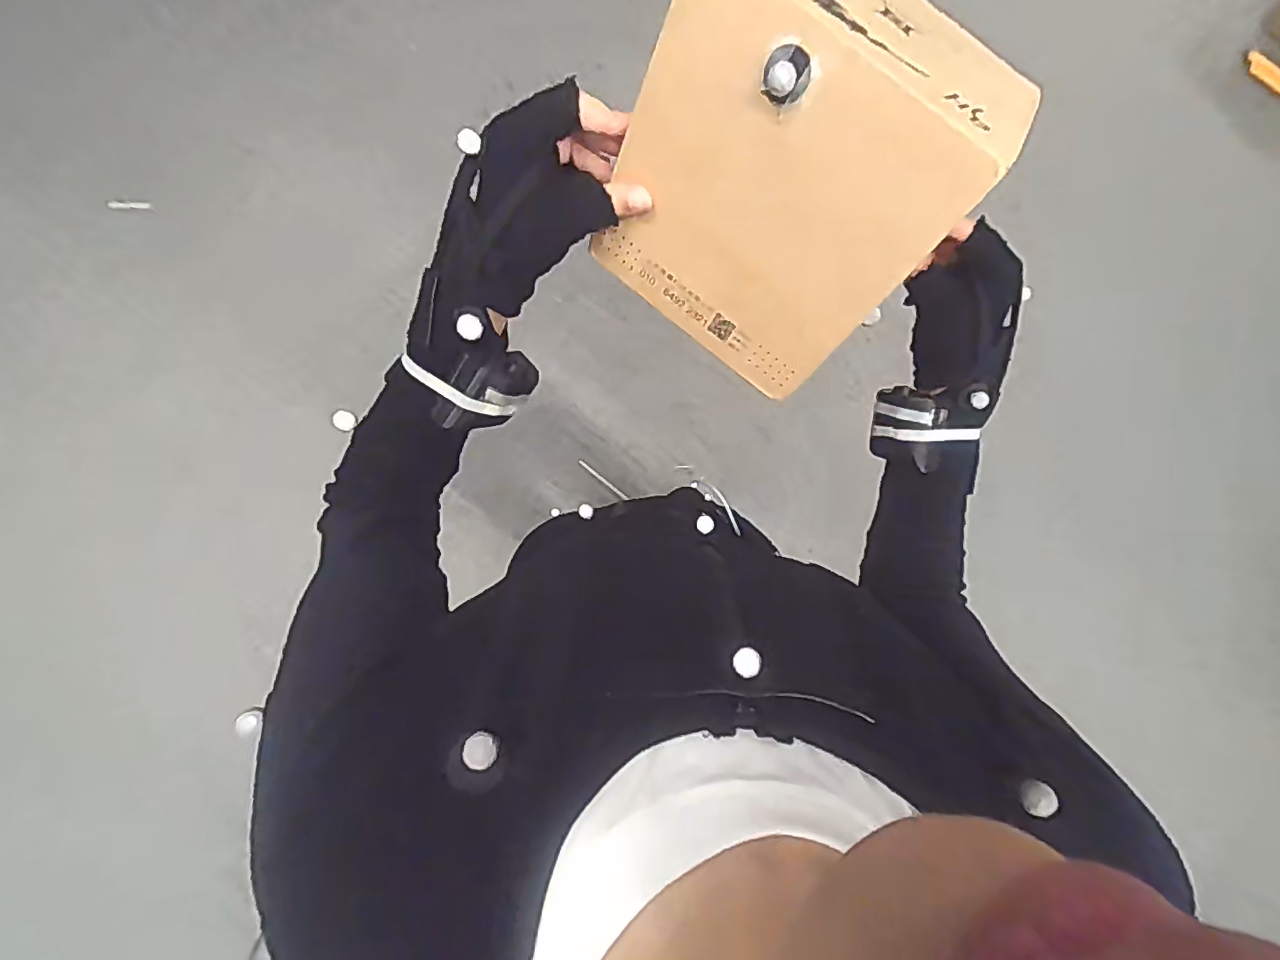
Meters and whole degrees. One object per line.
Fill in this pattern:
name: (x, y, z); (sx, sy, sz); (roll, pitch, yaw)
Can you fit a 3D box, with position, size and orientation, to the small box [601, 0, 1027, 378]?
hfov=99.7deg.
small box: (0.098, -0.201, 0.342); (0.168, 0.176, 0.179); (38, 53, 2)
